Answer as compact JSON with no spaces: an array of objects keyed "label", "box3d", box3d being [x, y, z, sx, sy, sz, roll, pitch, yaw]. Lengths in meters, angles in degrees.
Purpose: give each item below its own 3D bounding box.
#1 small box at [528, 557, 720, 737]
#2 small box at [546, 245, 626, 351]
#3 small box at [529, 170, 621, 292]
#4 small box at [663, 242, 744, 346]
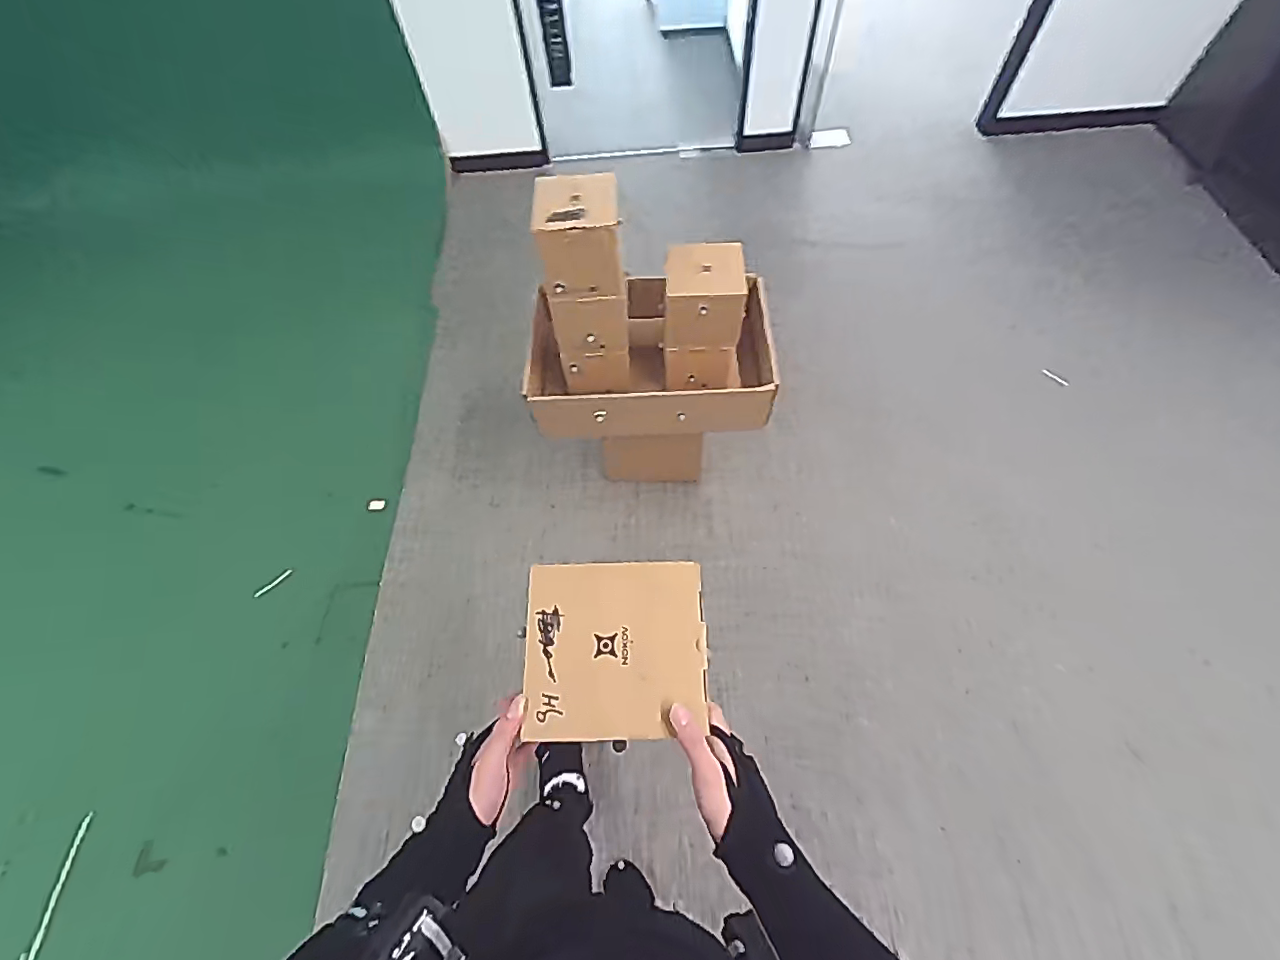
[{"label":"small box","box3d":[-0.016,0.187,0.590,0.179,0.176,0.168,0,66,-1]},{"label":"small box","box3d":[-0.120,-0.426,1.270,0.168,0.176,0.179,-2,61,1]},{"label":"small box","box3d":[-0.128,-0.511,1.129,0.168,0.176,0.179,-3,60,0]},{"label":"small box","box3d":[0.142,-0.431,1.266,0.179,0.176,0.168,0,62,1]}]
